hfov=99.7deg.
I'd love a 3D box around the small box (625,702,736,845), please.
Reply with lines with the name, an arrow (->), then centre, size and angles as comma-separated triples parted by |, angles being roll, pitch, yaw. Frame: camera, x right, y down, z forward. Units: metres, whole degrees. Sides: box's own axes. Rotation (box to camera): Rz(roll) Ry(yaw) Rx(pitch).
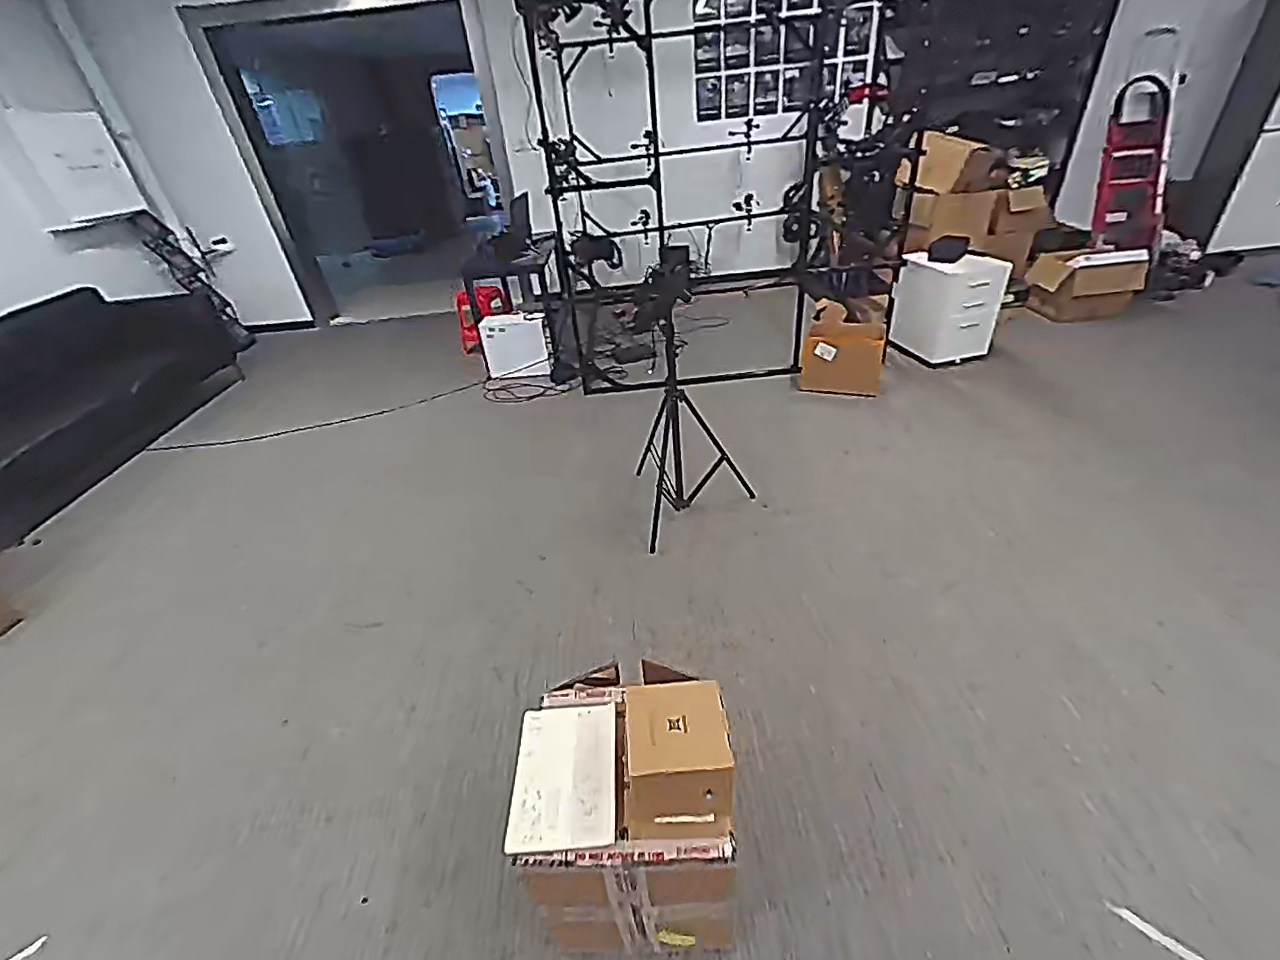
small box -> 0.067, 0.526, 0.970 | 0.179, 0.176, 0.168 | -6, 35, -1
